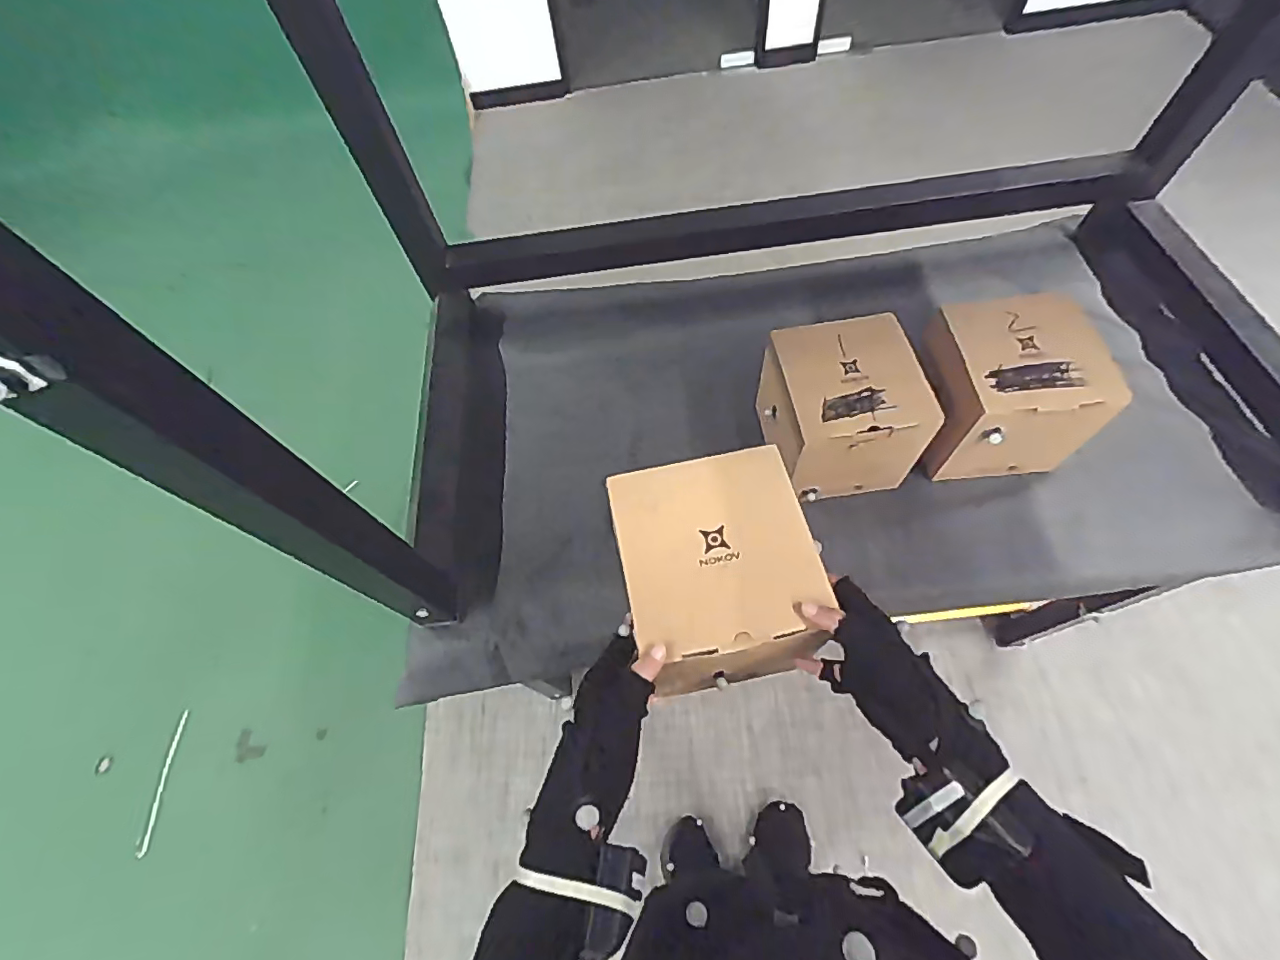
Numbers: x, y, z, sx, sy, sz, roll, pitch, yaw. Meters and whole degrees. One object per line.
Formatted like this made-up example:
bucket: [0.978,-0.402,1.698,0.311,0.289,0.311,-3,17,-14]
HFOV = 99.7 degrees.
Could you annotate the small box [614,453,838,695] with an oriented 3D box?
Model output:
small box: [0.072,0.100,0.549,0.168,0.176,0.179,-11,59,-3]

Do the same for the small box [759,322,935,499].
small box: [0.268,-0.086,0.748,0.168,0.176,0.179,-9,60,1]
